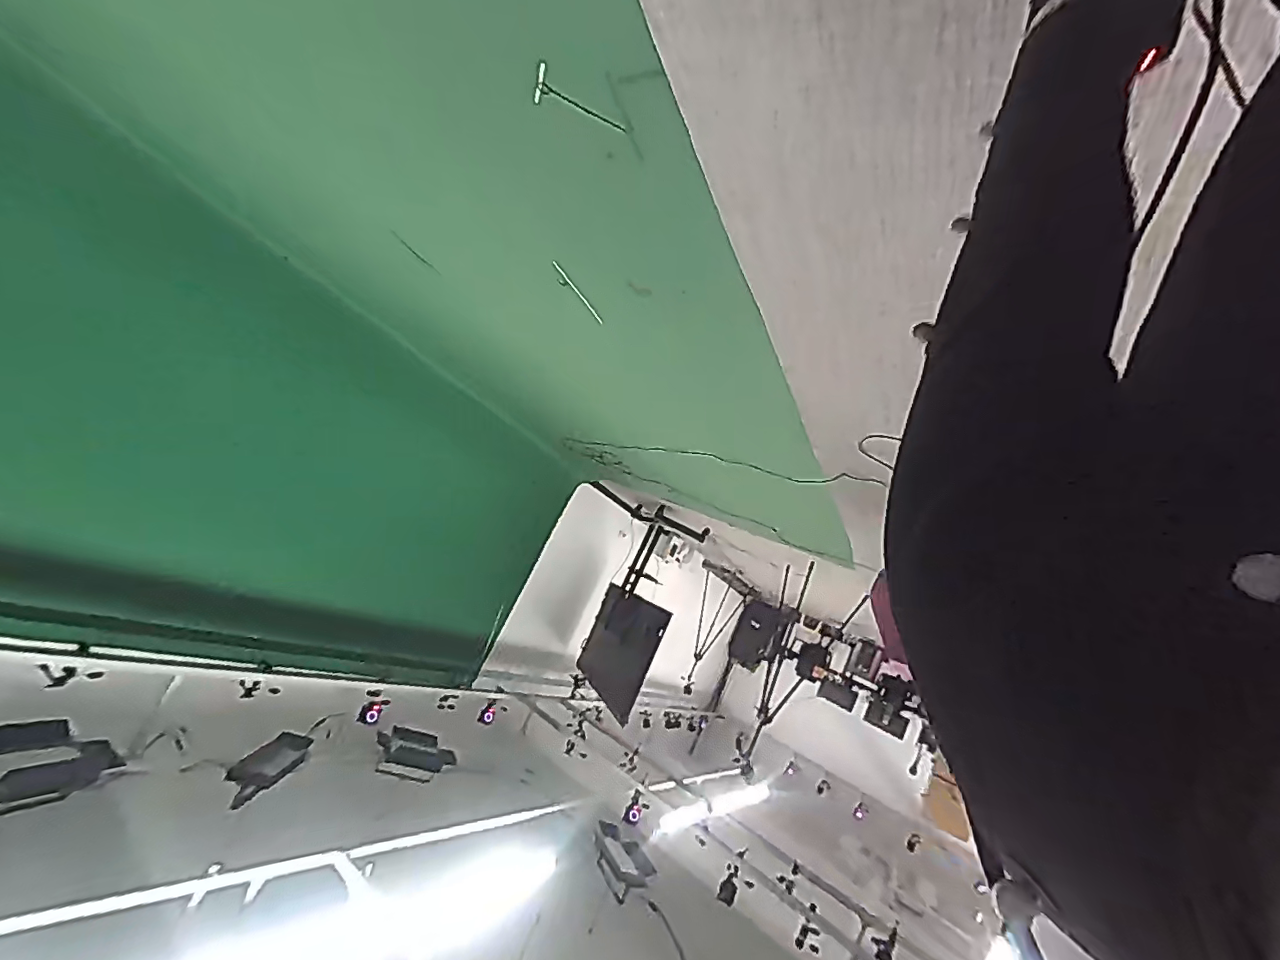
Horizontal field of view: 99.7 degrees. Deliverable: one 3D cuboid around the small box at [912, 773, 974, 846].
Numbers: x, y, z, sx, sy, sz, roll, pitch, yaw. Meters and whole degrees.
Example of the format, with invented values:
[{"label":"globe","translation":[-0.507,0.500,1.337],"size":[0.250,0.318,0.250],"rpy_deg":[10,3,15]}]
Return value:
[{"label":"small box","translation":[1.154,1.248,2.063],"size":[0.168,0.176,0.179],"rpy_deg":[18,166,30]}]
